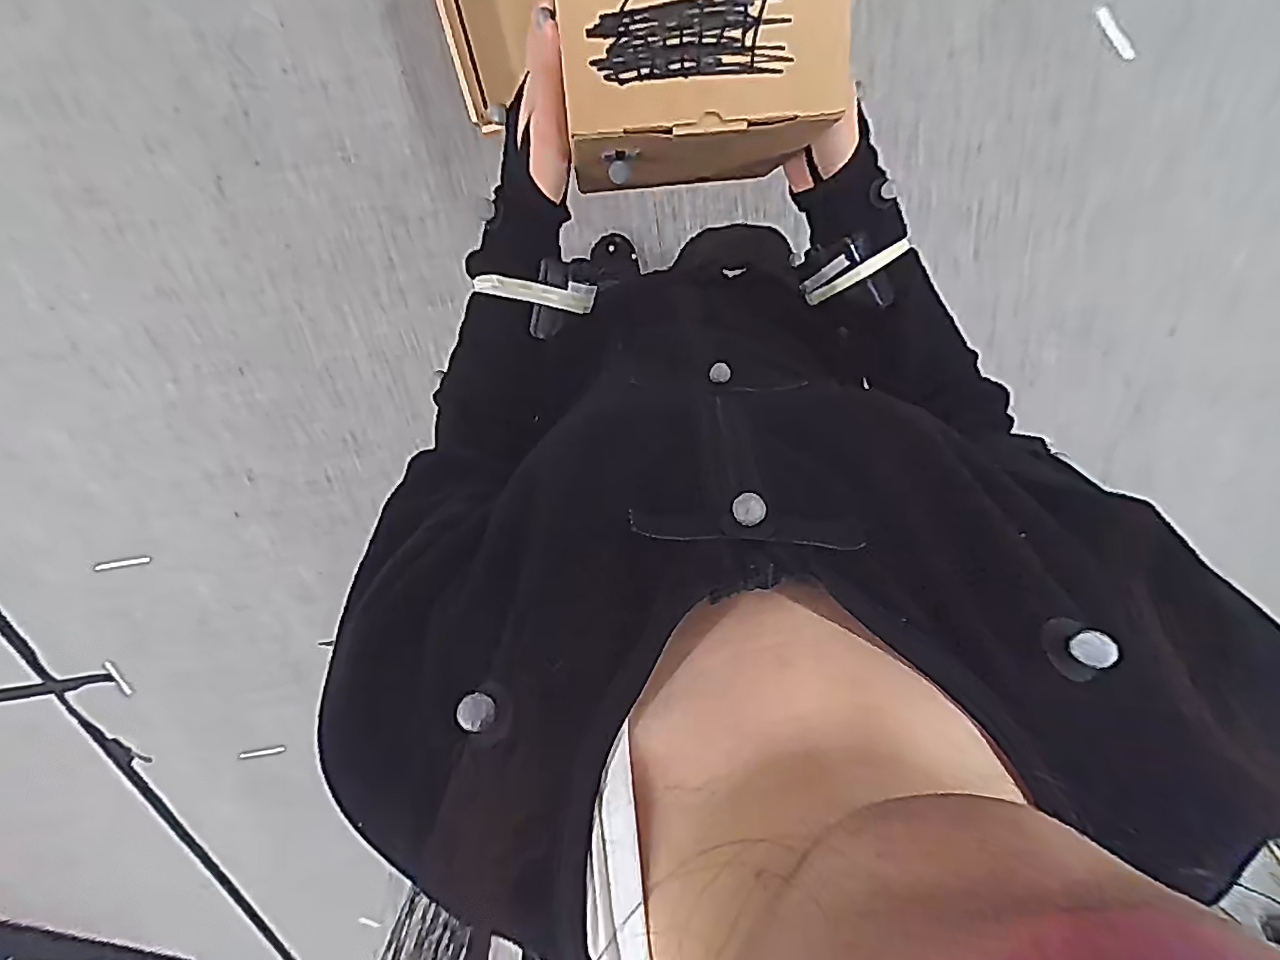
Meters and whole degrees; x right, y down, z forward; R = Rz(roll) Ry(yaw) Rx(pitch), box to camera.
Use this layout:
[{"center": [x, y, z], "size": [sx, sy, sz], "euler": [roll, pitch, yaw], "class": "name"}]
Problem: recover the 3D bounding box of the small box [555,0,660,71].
[{"center": [-0.073, -0.910, 1.011], "size": [0.168, 0.176, 0.179], "euler": [-18, 116, 3], "class": "small box"}]
